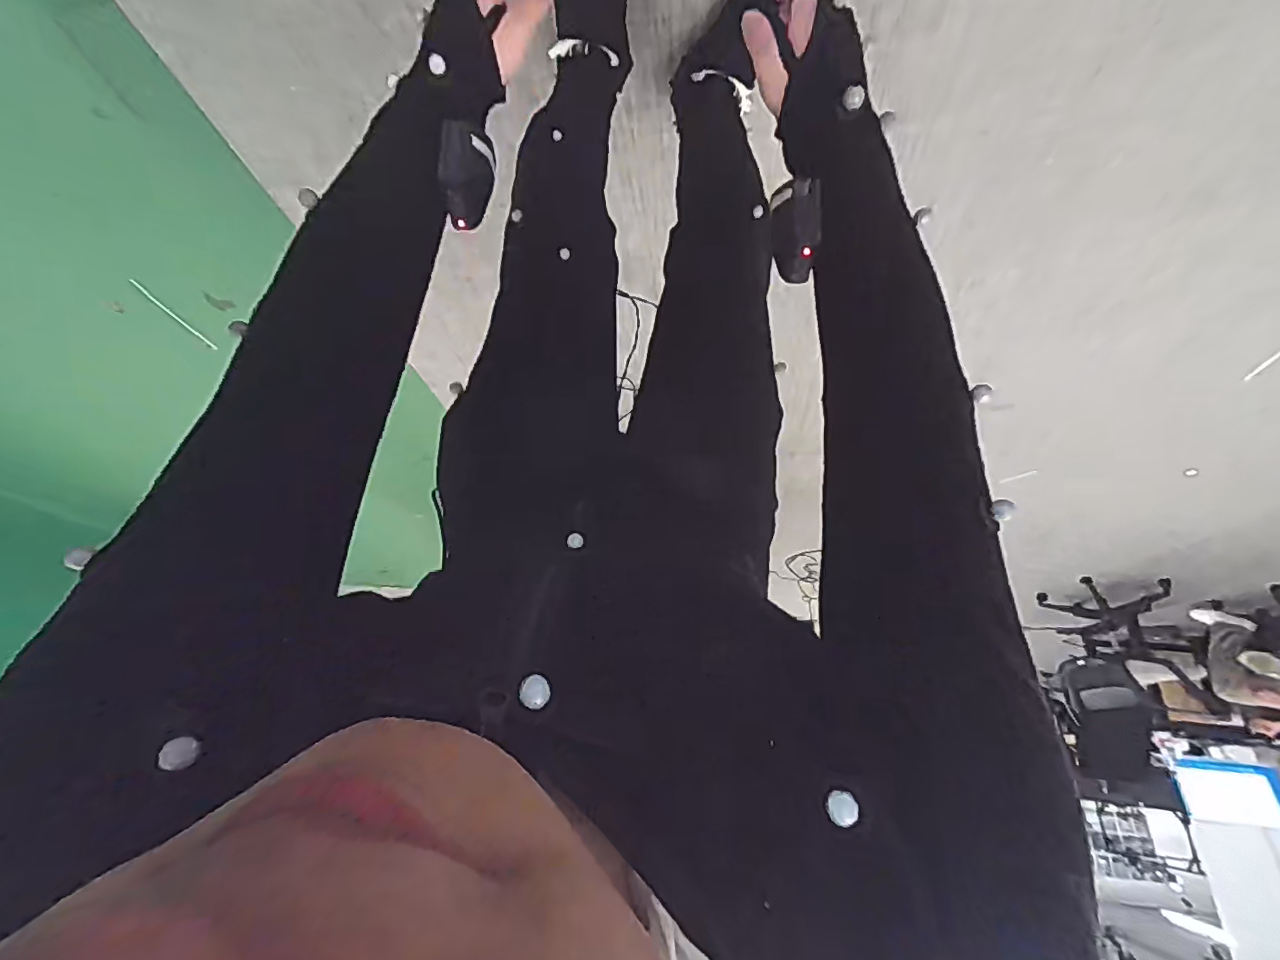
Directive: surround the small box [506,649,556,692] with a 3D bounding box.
[{"bbox_3d":[-0.495,0.872,2.488,0.168,0.176,0.179,0,154,10],"label":"small box"}]
